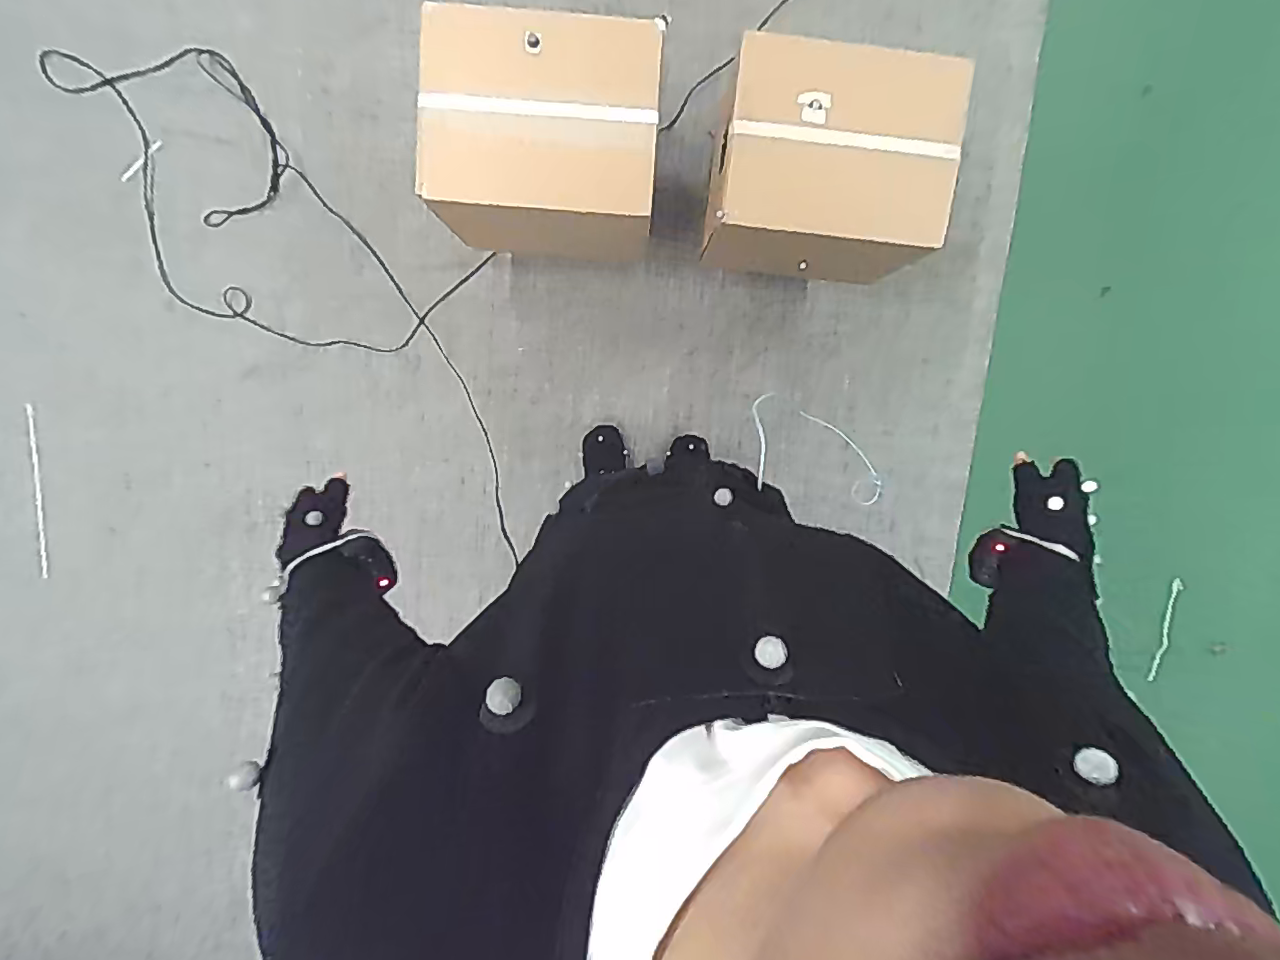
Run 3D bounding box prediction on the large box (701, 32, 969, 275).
[{"bbox_3d":[0.357,-0.622,1.096,0.408,0.320,0.320,6,98,-2],"label":"large box"}]
